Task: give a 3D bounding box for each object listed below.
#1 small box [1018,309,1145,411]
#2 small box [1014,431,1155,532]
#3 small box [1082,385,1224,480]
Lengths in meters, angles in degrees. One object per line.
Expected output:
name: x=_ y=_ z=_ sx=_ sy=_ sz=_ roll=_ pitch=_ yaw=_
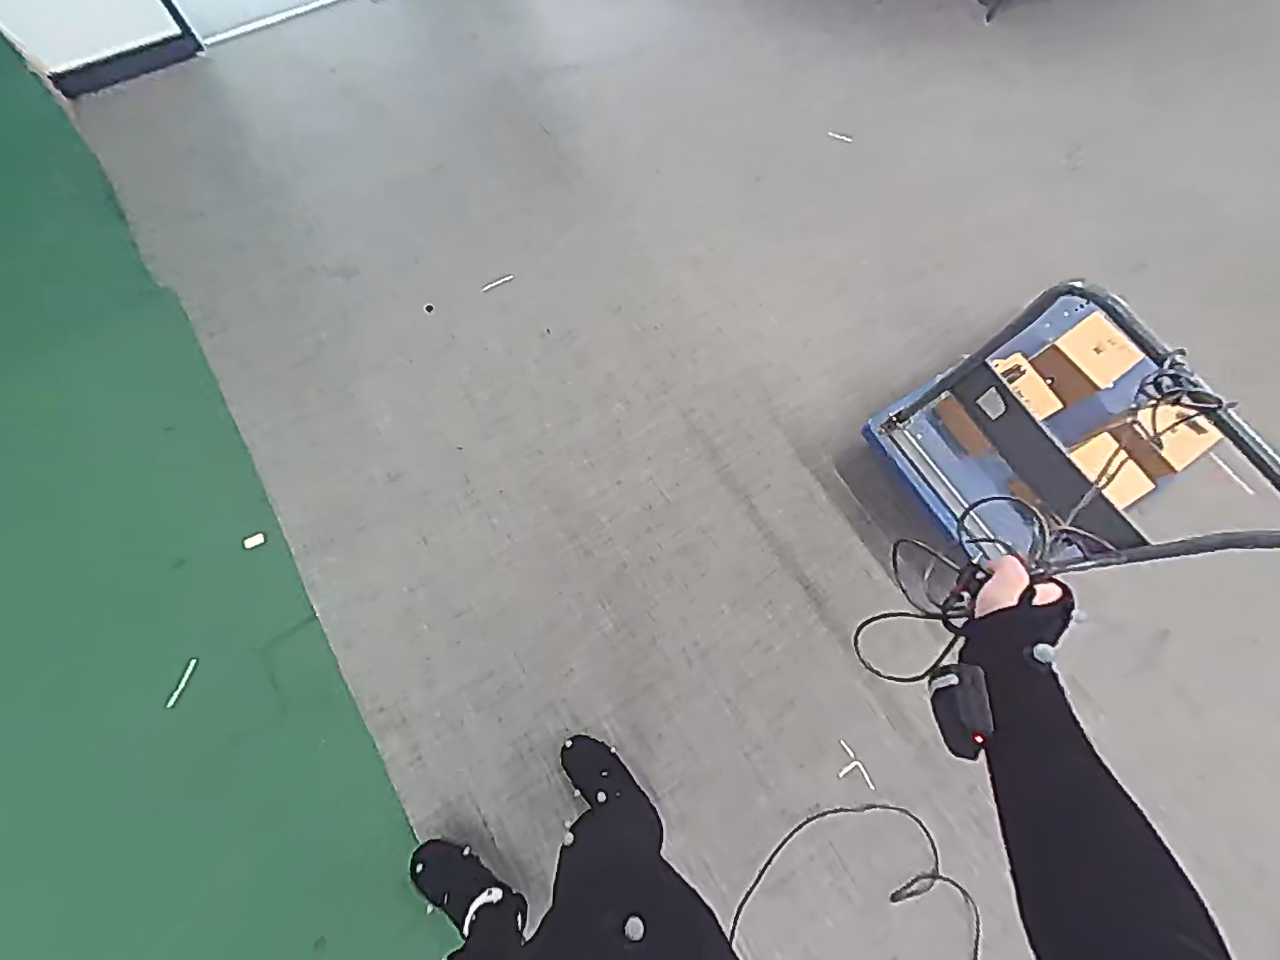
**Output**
small box: x=1.171 y=-0.315 z=1.455 sx=0.179 sy=0.176 sz=0.168 roll=-34 pitch=77 yaw=-12
small box: x=1.096 y=0.009 z=1.349 sx=0.179 sy=0.176 sz=0.168 roll=-29 pitch=76 yaw=-10
small box: x=1.307 y=-0.107 z=1.393 sx=0.179 sy=0.176 sz=0.168 roll=-32 pitch=75 yaw=-11
